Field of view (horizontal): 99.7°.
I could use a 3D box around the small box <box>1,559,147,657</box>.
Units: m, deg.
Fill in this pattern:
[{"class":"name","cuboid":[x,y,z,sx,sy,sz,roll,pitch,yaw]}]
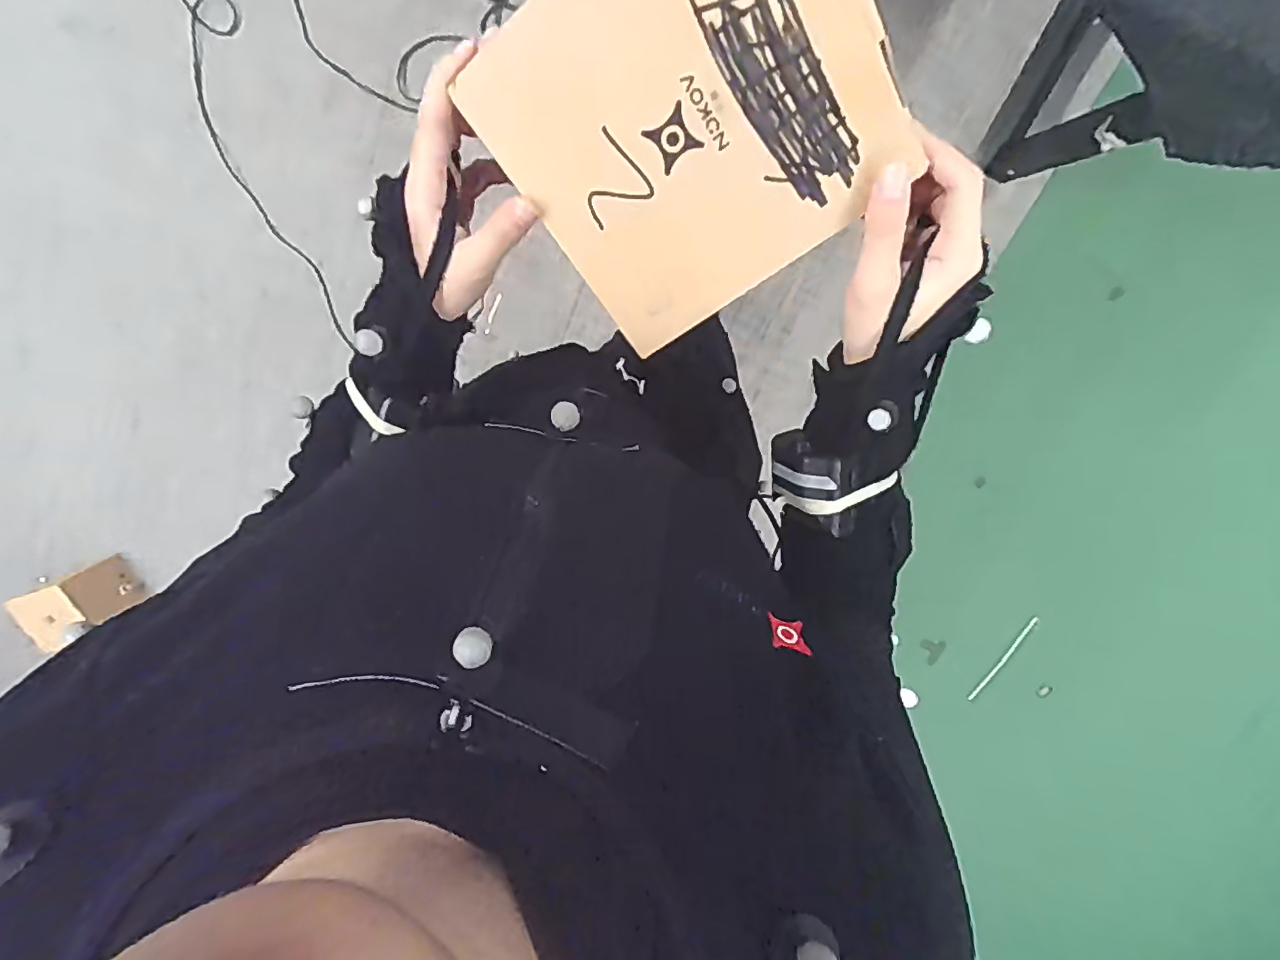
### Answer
[{"class":"small box","cuboid":[-1.502,0.339,1.450,0.179,0.176,0.168,-18,109,7]}]
